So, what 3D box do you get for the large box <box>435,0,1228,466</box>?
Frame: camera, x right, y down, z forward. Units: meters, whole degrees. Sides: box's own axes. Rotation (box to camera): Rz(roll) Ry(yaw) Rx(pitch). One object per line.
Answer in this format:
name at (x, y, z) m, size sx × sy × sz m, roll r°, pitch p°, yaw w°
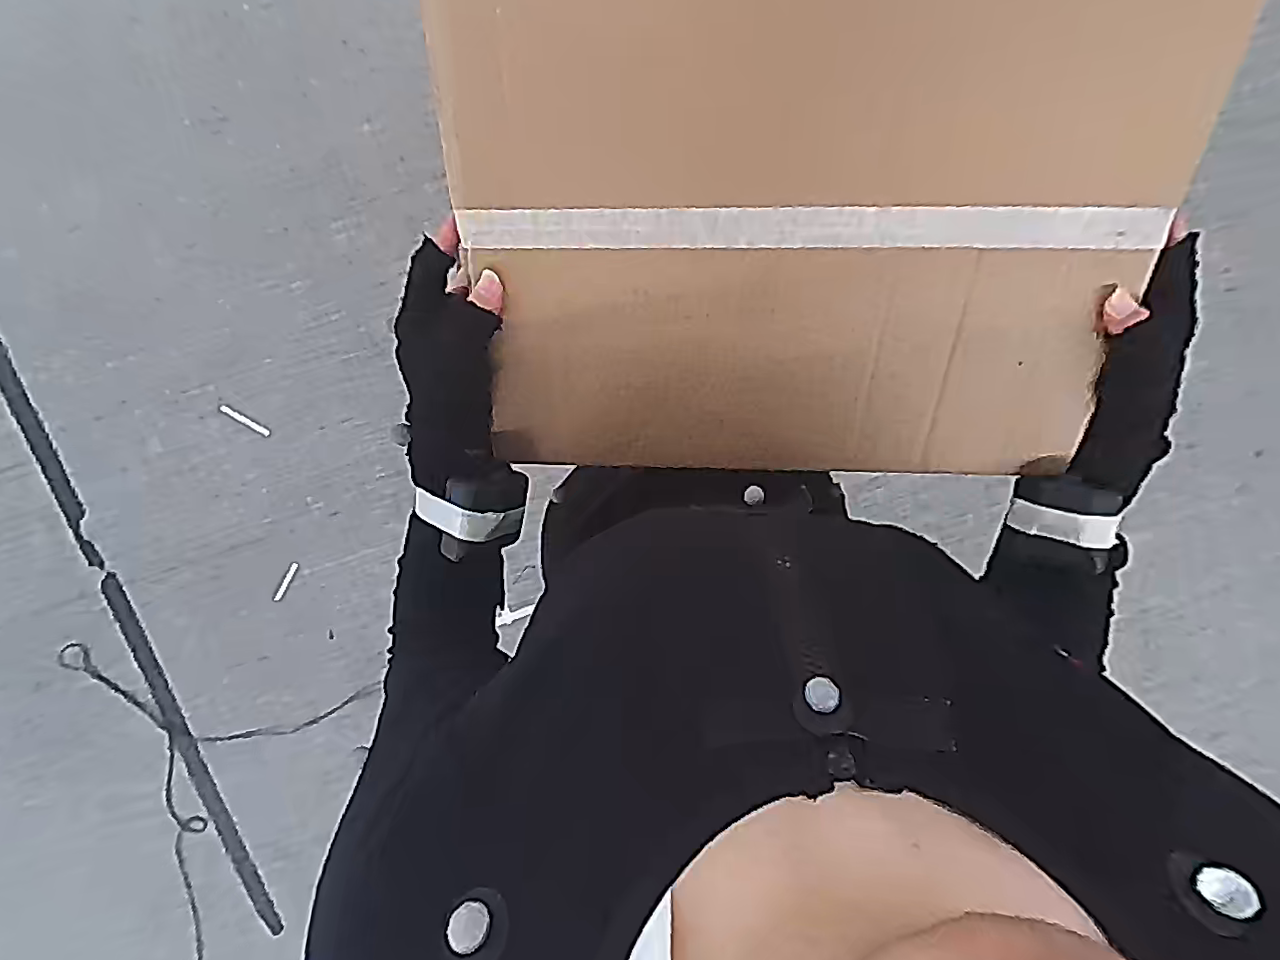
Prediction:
large box at (0.097, -0.217, 0.457) m, size 0.408 × 0.320 × 0.320 m, roll 1°, pitch 120°, yaw 2°
